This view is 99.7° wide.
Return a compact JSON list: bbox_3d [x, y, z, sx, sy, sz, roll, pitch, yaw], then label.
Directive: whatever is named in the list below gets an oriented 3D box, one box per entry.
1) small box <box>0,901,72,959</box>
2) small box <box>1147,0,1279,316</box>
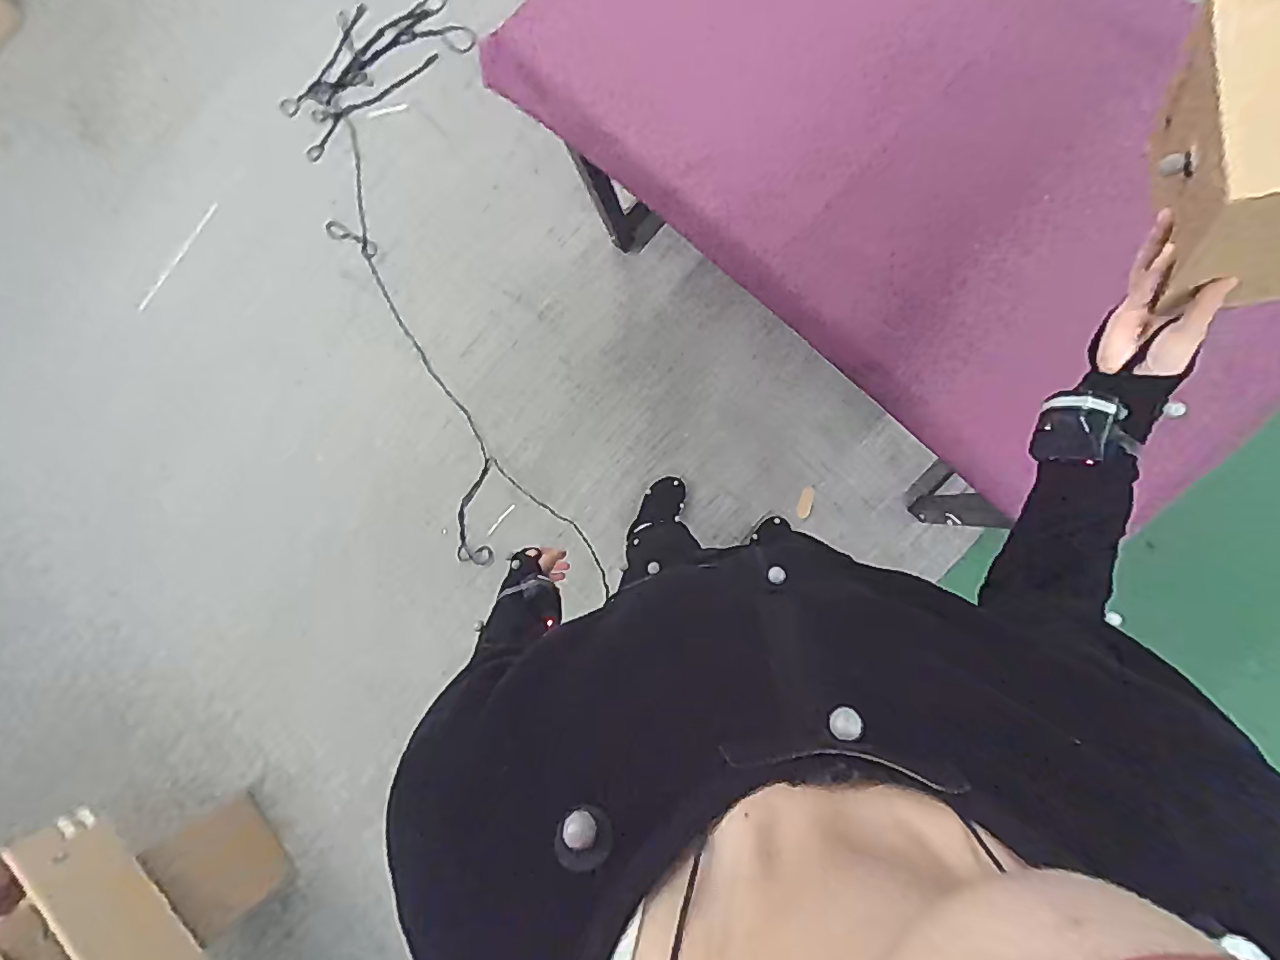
[{"bbox_3d":[-1.462,1.123,1.230,0.179,0.176,0.168,-37,83,5],"label":"small box"},{"bbox_3d":[0.478,-0.236,0.364,0.179,0.168,0.176,-2,81,33],"label":"small box"}]
